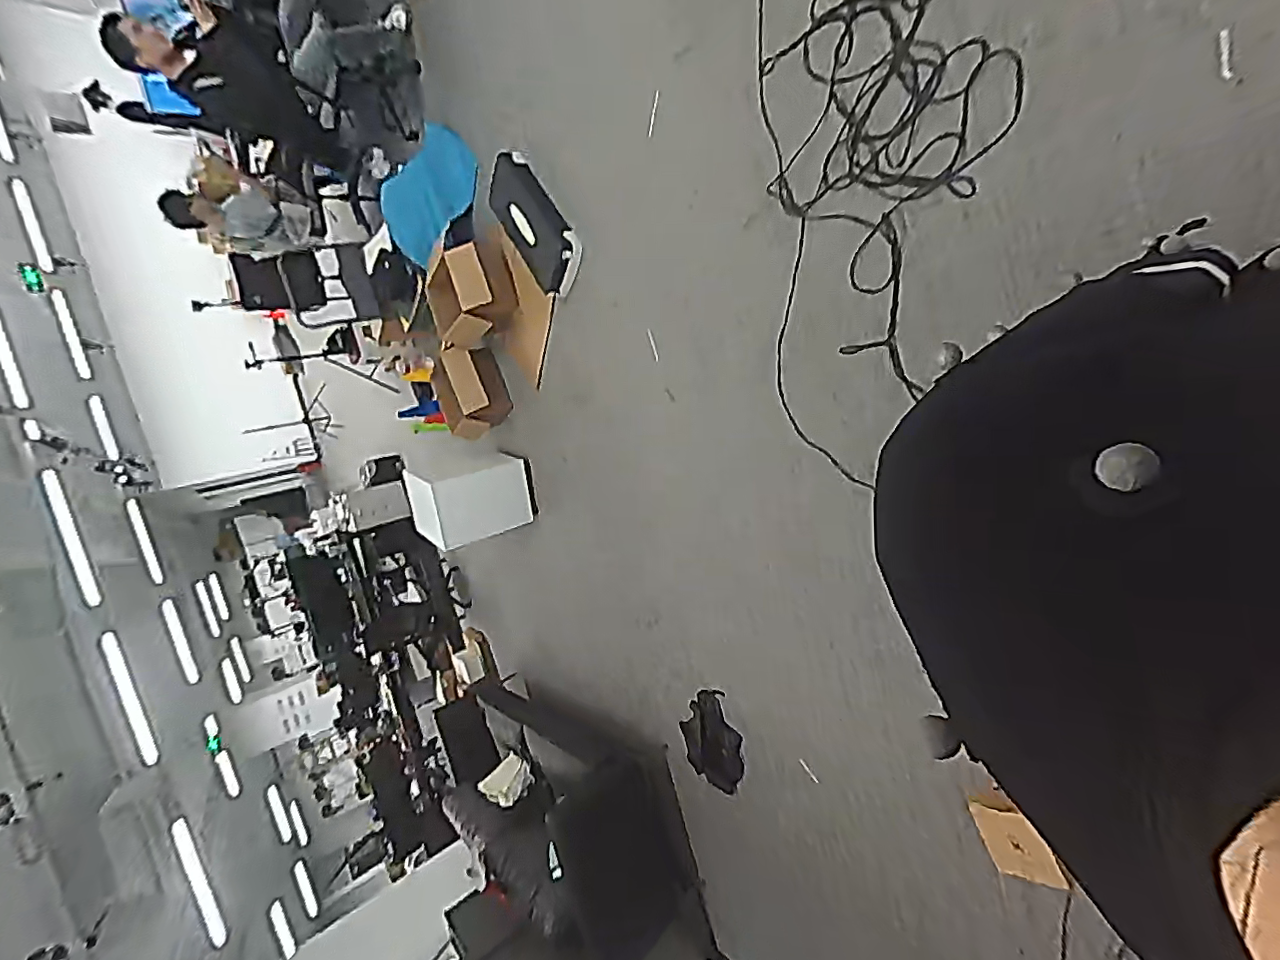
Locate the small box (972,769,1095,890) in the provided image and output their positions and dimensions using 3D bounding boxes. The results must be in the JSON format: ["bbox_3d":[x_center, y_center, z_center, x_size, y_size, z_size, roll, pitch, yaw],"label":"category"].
[{"bbox_3d":[0.974,0.851,1.340,0.168,0.176,0.179,-32,80,56],"label":"small box"}]
